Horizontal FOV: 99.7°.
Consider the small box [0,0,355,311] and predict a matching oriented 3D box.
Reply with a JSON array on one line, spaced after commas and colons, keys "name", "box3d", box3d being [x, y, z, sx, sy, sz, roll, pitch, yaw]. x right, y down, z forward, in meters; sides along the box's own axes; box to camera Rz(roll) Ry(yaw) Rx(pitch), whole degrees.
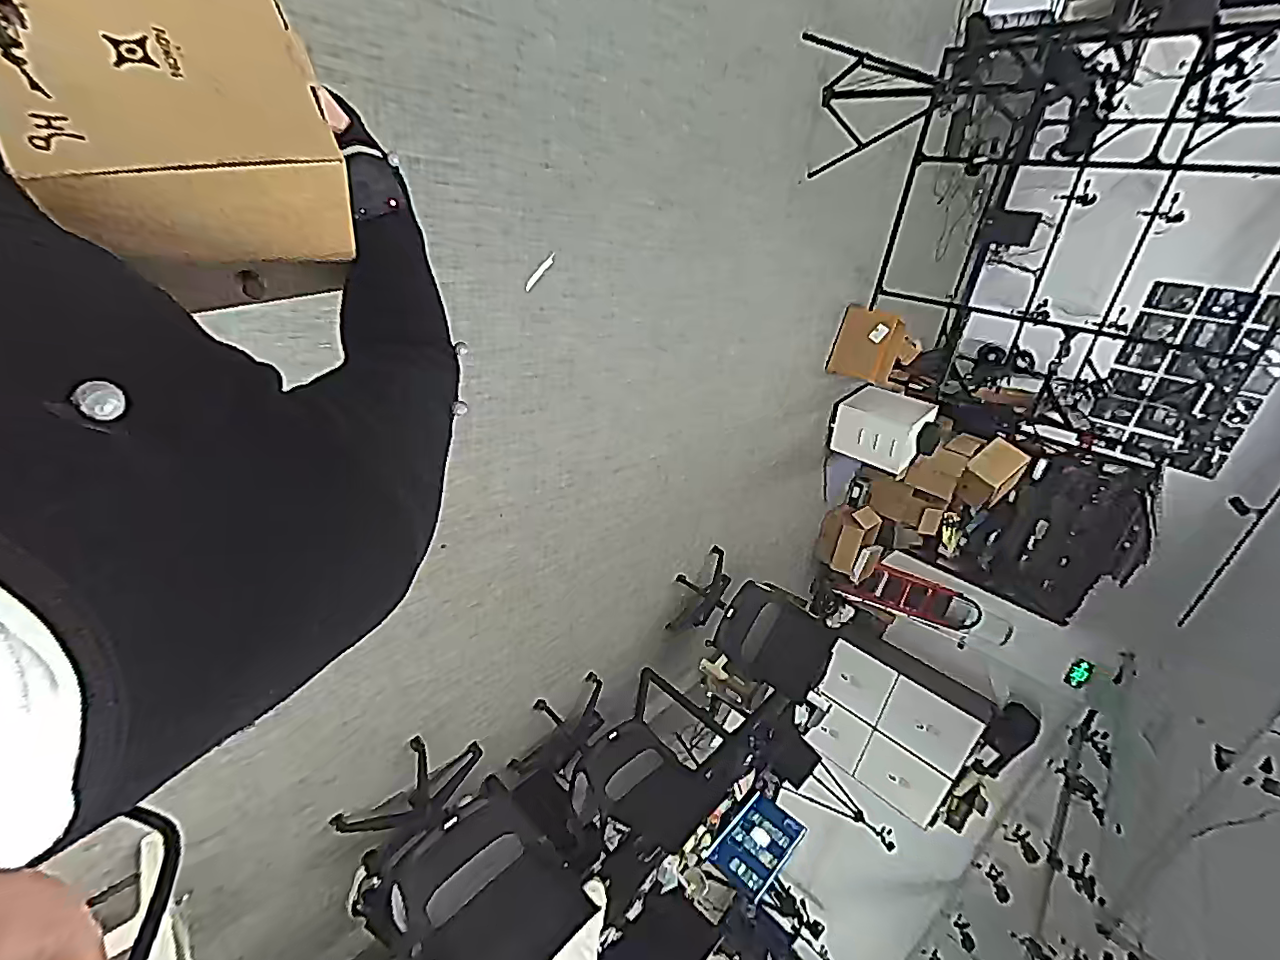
[{"name": "small box", "box3d": [-0.347, -0.260, 0.434, 0.179, 0.176, 0.168, -22, 86, -27]}]
